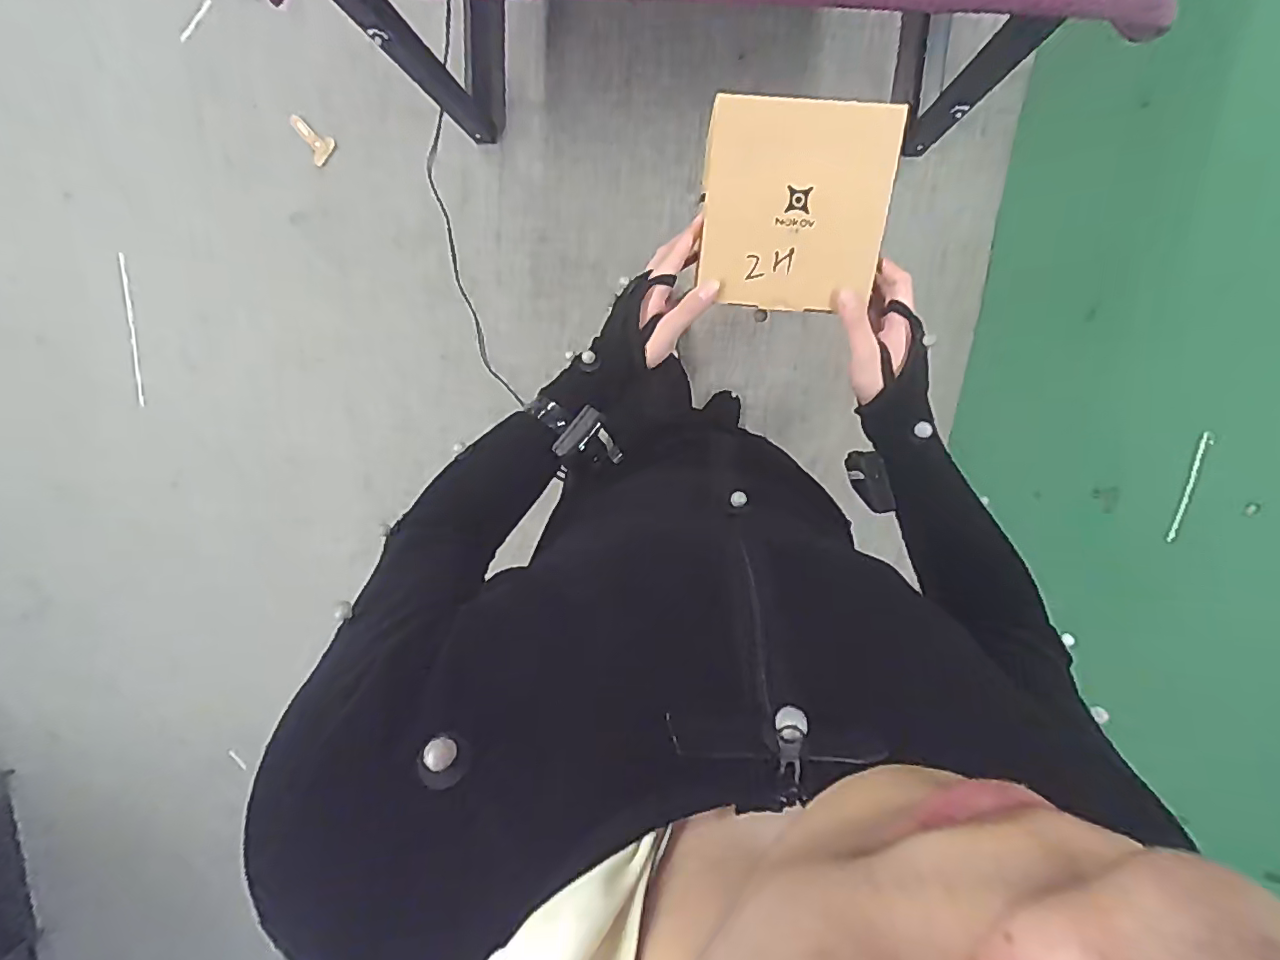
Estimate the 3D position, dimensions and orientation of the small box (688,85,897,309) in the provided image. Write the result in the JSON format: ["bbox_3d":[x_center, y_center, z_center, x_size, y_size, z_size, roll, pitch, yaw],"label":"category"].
[{"bbox_3d":[0.140,-0.281,0.571,0.168,0.176,0.179,6,110,3],"label":"small box"}]

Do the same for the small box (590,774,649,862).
[{"bbox_3d":[-0.065,1.134,1.826,0.168,0.176,0.179,9,104,5],"label":"small box"}]
